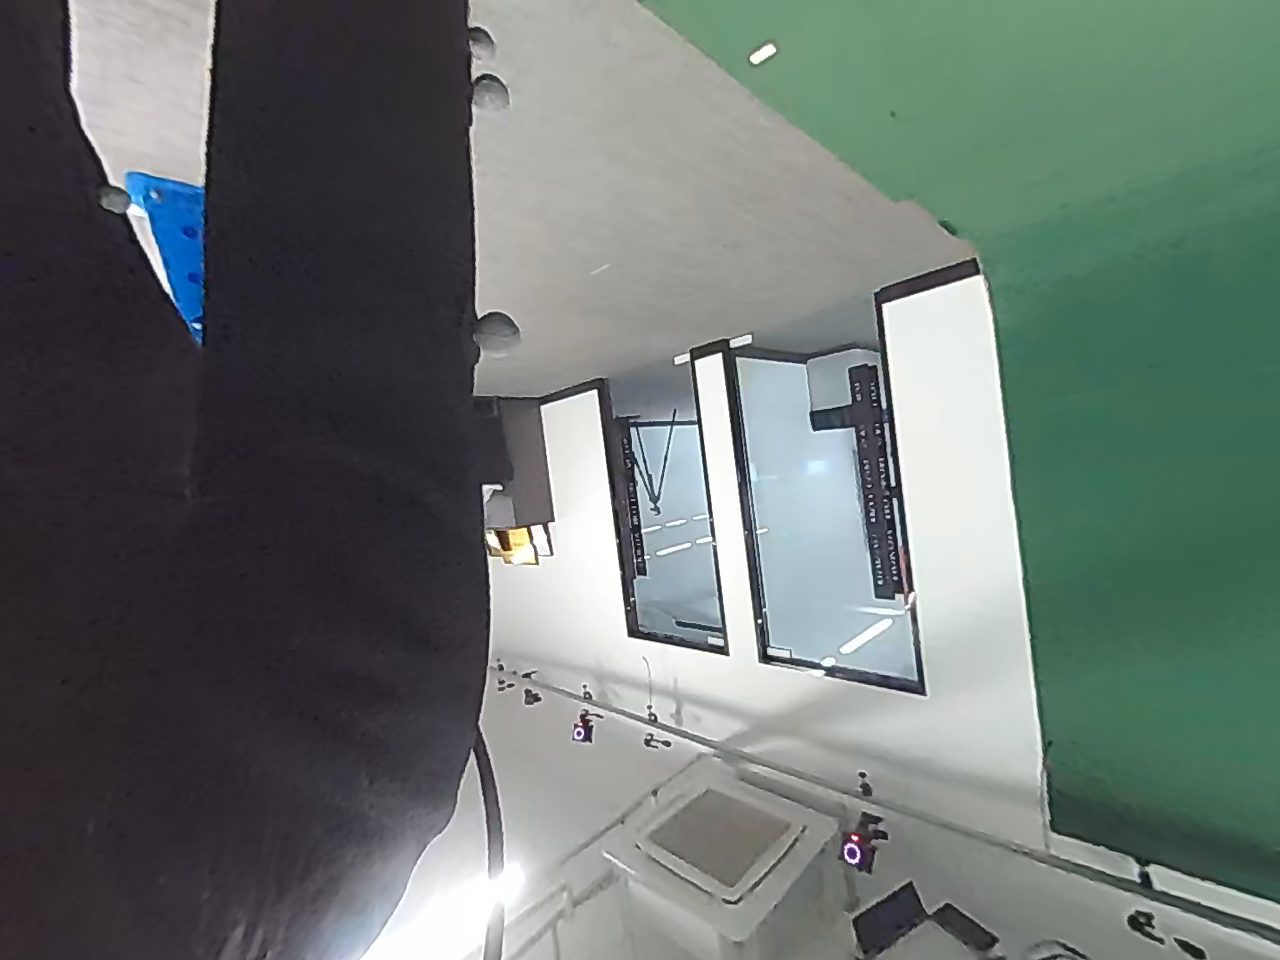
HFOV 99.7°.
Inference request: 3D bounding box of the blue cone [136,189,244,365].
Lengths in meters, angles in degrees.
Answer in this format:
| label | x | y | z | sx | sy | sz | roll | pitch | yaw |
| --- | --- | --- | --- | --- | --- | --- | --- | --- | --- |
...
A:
| label | x | y | z | sx | sy | sz | roll | pitch | yaw |
| --- | --- | --- | --- | --- | --- | --- | --- | --- | --- |
| blue cone | -1.033 | -0.460 | 1.270 | 0.193 | 0.380 | 0.192 | -7 | -179 | 44 |
